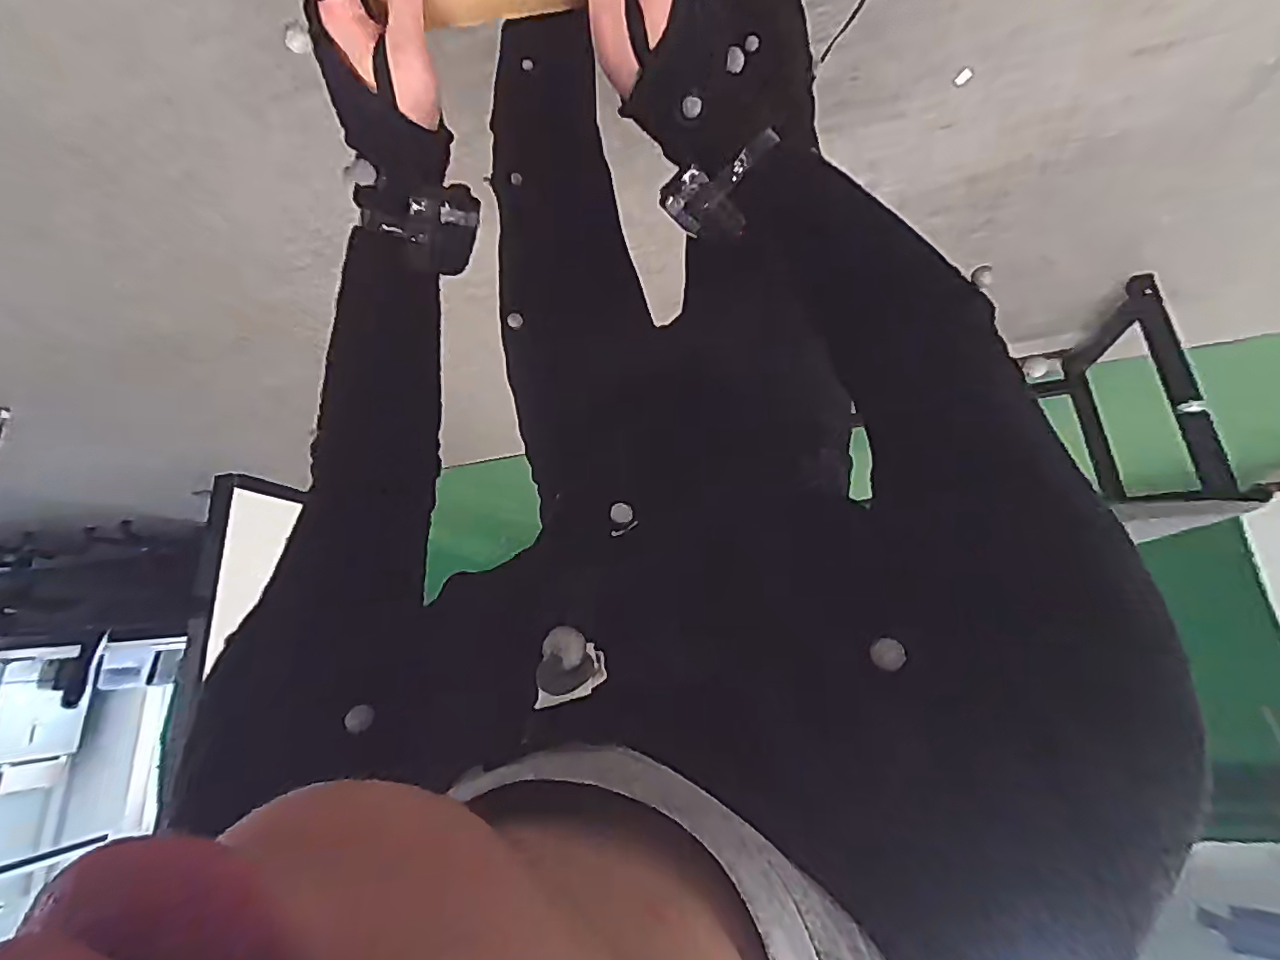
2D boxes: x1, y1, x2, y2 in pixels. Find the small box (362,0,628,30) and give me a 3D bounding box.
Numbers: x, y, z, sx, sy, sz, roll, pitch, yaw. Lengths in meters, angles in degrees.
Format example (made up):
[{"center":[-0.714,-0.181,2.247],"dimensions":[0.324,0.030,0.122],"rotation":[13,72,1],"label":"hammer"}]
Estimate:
[{"center":[-0.095,-0.388,0.275],"dimensions":[0.179,0.176,0.168],"rotation":[-5,174,4],"label":"small box"}]
